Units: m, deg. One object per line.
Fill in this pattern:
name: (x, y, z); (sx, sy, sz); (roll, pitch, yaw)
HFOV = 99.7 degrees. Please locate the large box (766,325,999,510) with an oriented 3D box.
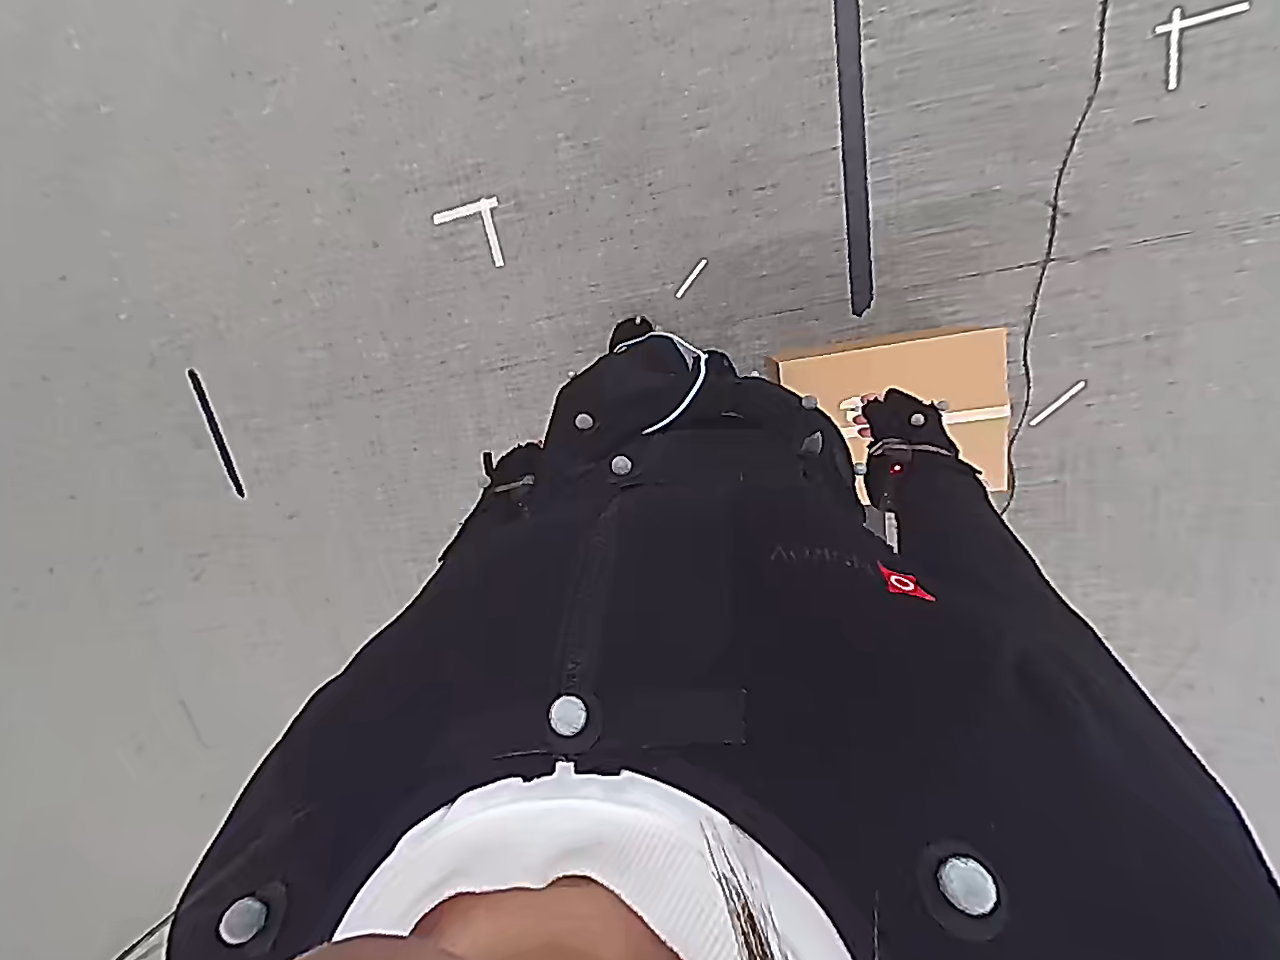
large box: (0.502, -0.149, 1.189); (0.408, 0.320, 0.320); (-7, 104, 12)
